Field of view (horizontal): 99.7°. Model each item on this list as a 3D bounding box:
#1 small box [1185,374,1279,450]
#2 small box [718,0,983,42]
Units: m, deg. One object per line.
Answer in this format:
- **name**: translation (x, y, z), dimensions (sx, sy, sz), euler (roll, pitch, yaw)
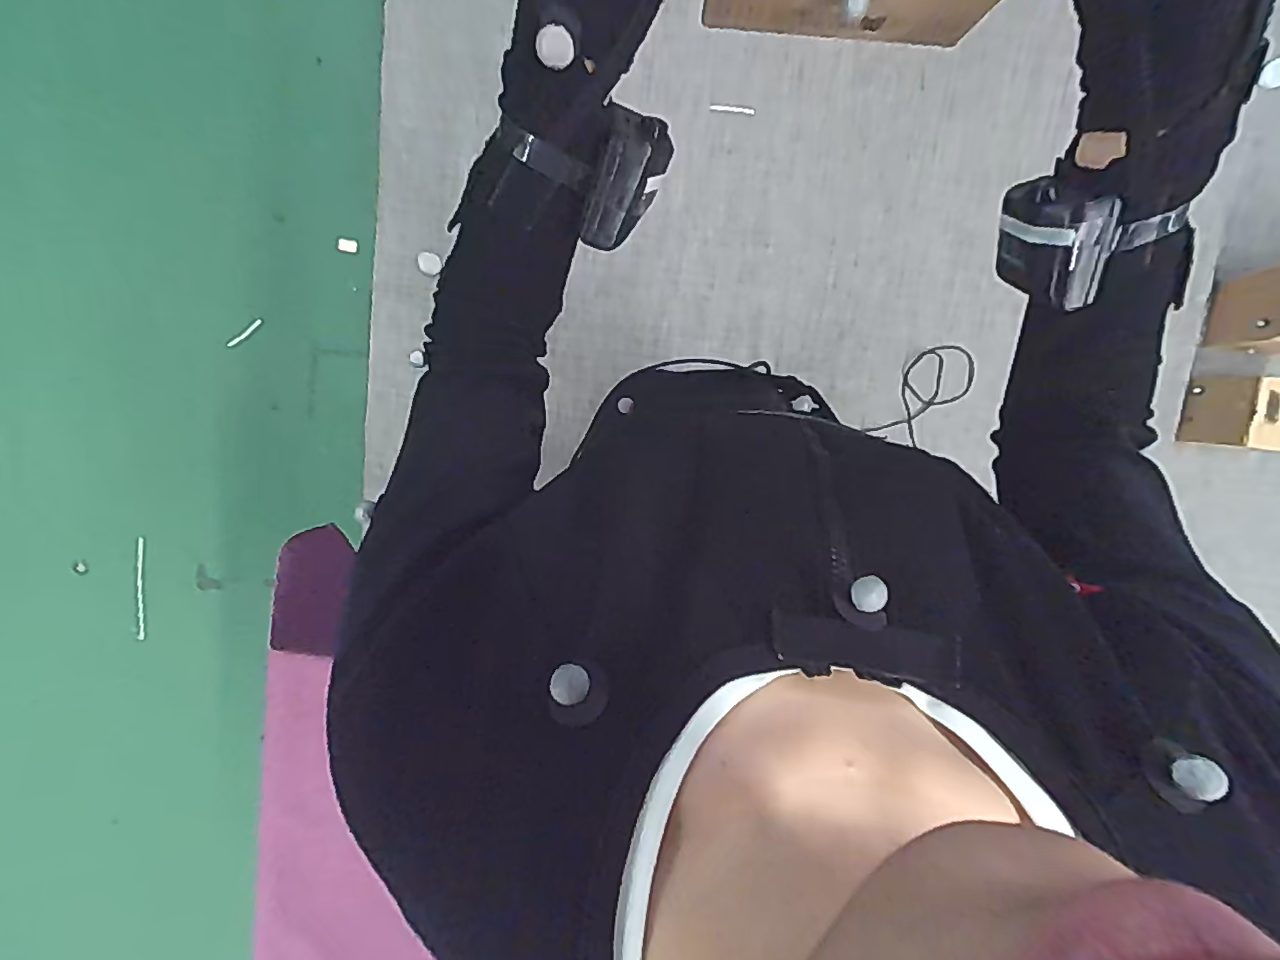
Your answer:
- **small box**: translation (1.494, -0.162, 1.309), dimensions (0.179, 0.176, 0.168), euler (6, 99, 1)
- **small box**: translation (0.127, -0.355, 0.250), dimensions (0.168, 0.176, 0.179), euler (5, 104, 1)
